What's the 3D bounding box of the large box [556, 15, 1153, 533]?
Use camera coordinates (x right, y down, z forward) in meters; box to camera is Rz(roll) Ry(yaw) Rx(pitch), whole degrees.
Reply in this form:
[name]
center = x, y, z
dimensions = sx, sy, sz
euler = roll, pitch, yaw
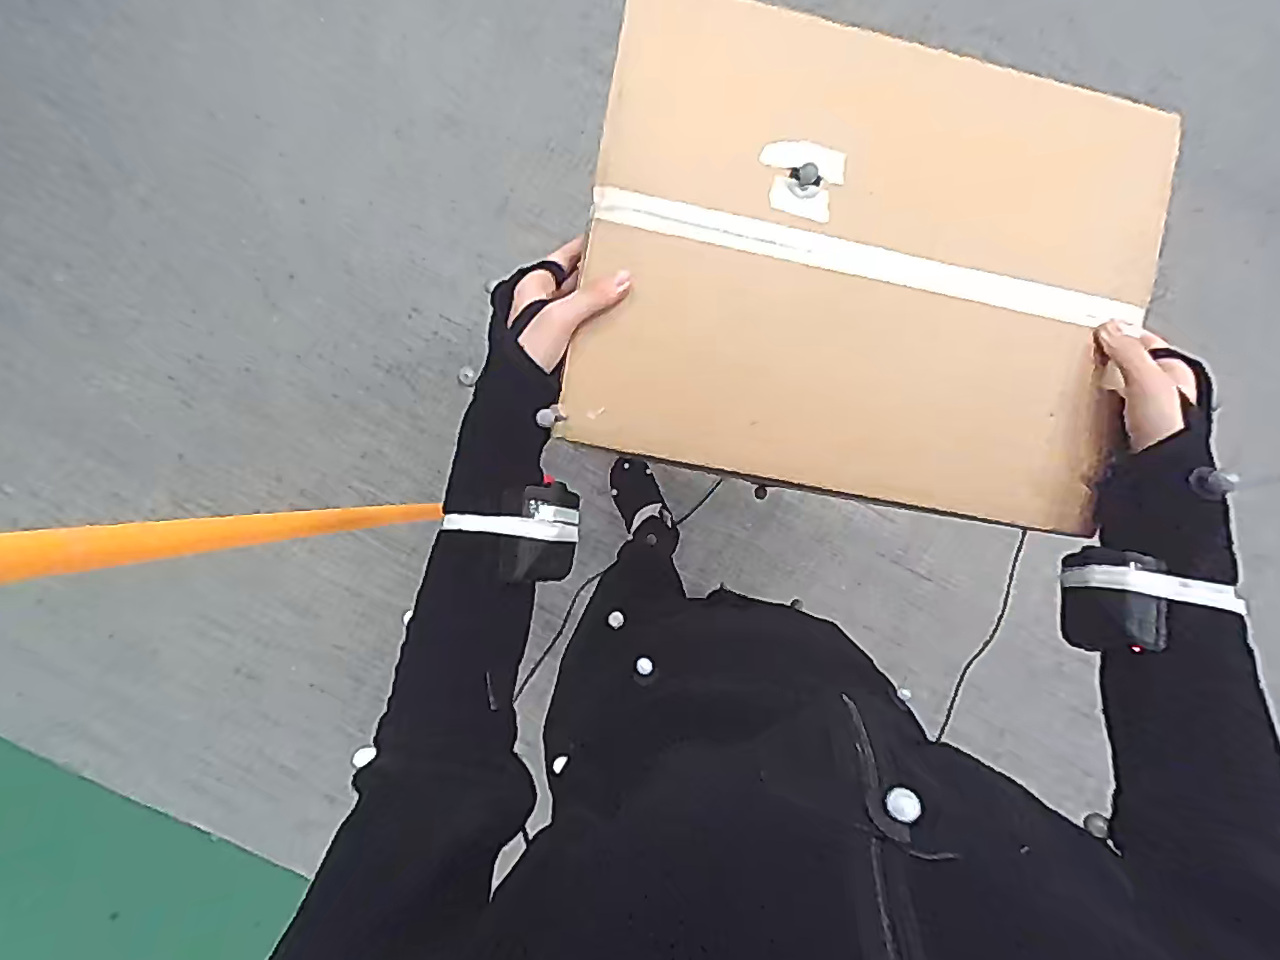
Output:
[large box]
center = 0.151, -0.149, 0.541
dimensions = 0.408, 0.320, 0.320
euler = 10, 92, -4
